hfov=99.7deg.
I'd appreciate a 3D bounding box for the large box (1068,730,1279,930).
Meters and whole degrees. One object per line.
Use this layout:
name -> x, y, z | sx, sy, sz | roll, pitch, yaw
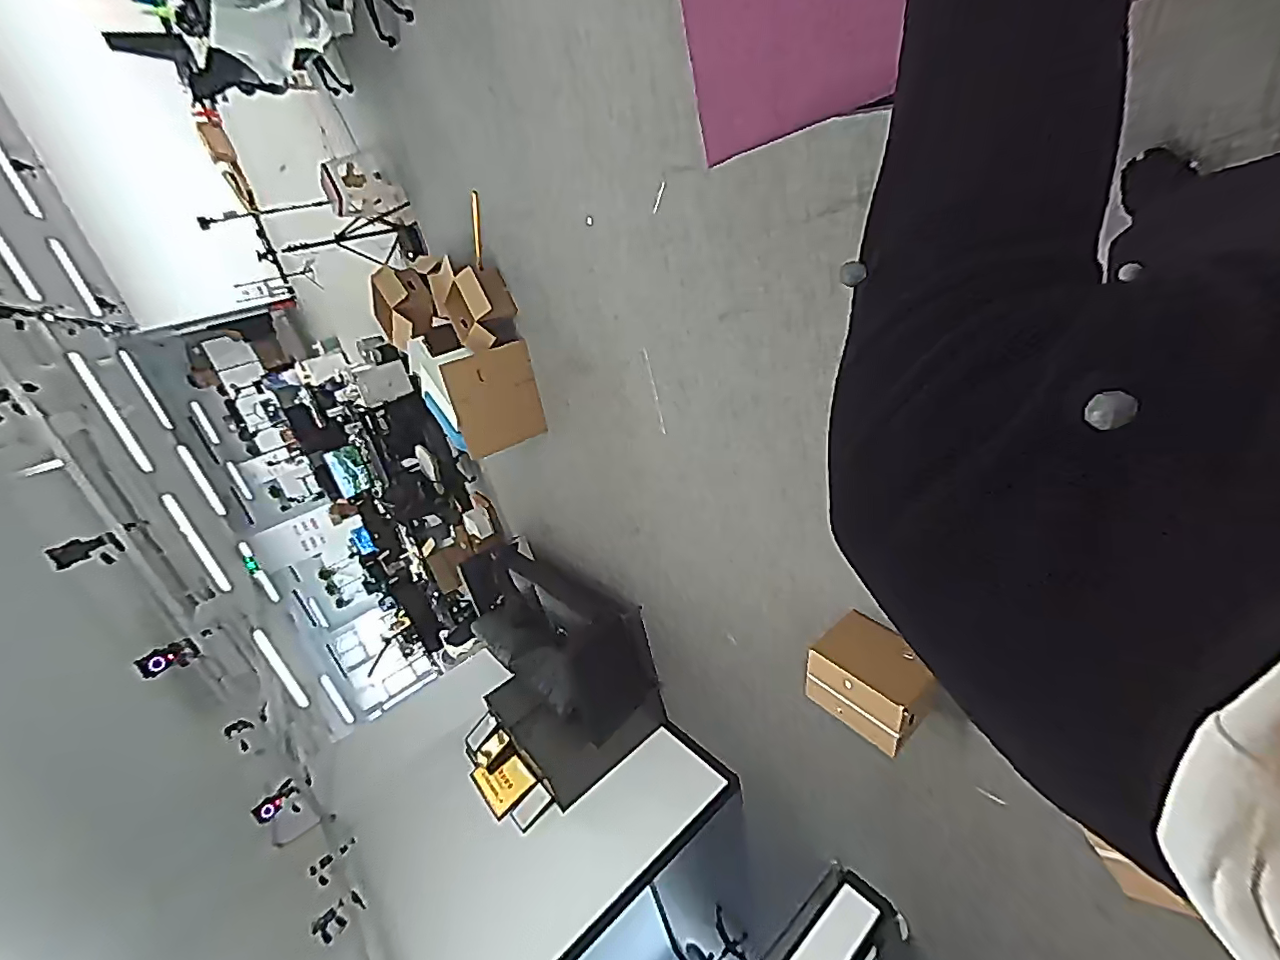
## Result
large box -> 1.516, 0.921, 1.475 | 0.320, 0.320, 0.408 | 58, 149, 4
